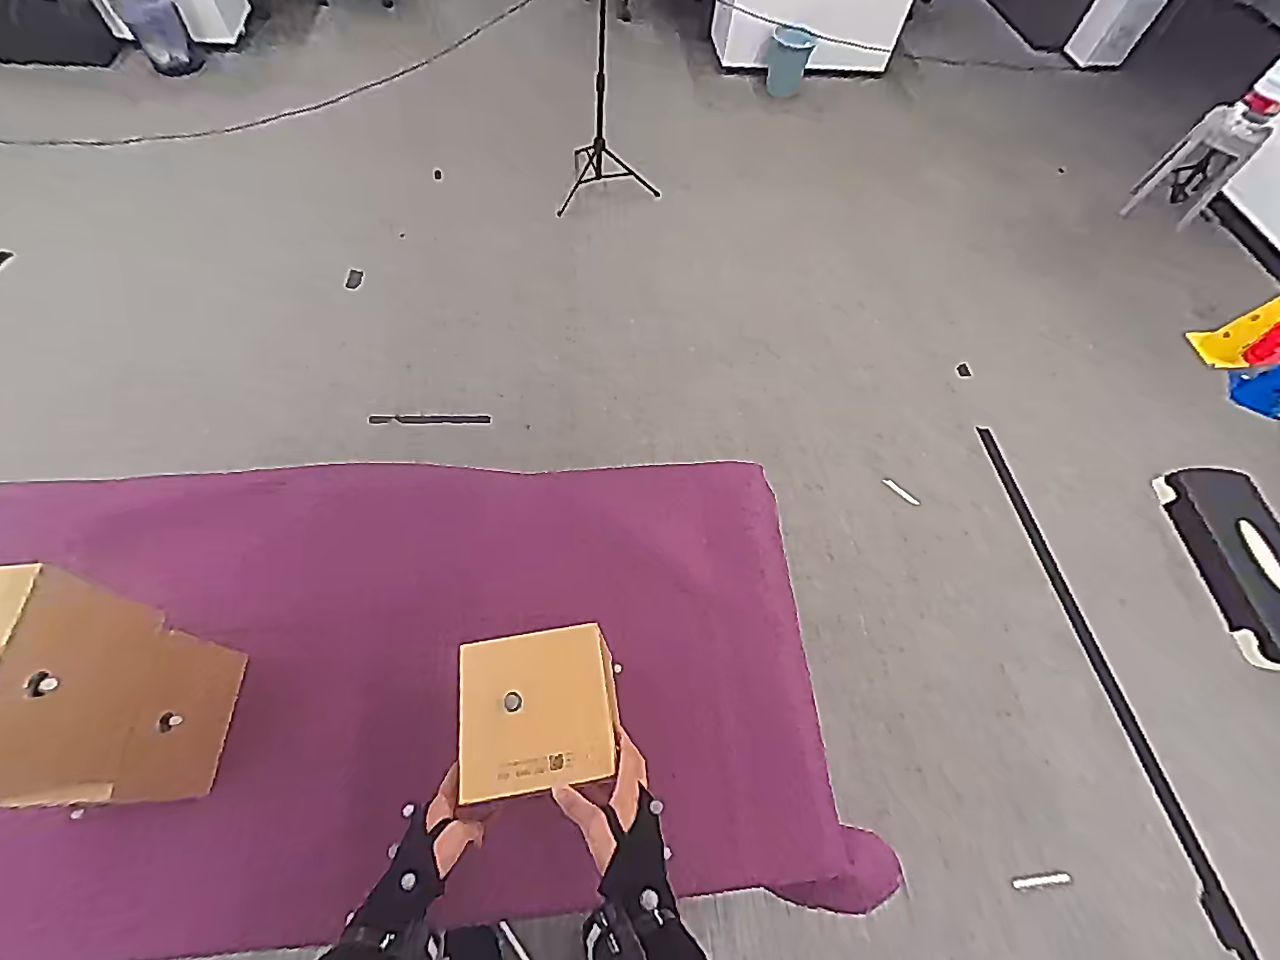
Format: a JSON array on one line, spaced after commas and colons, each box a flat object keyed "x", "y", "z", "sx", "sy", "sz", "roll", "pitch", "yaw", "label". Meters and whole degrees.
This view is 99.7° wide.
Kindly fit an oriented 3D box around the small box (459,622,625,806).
[{"x": -0.114, "y": 0.295, "z": 0.672, "sx": 0.168, "sy": 0.179, "sz": 0.176, "roll": -9, "pitch": 59, "yaw": -3, "label": "small box"}]

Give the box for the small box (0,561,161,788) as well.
[{"x": -0.612, "y": 0.192, "z": 0.509, "sx": 0.168, "sy": 0.176, "sz": 0.179, "roll": -3, "pitch": 61, "yaw": -8, "label": "small box"}]

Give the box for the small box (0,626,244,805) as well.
[{"x": -0.621, "y": 0.282, "z": 0.647, "sx": 0.168, "sy": 0.176, "sz": 0.179, "roll": 1, "pitch": 61, "yaw": -6, "label": "small box"}]
